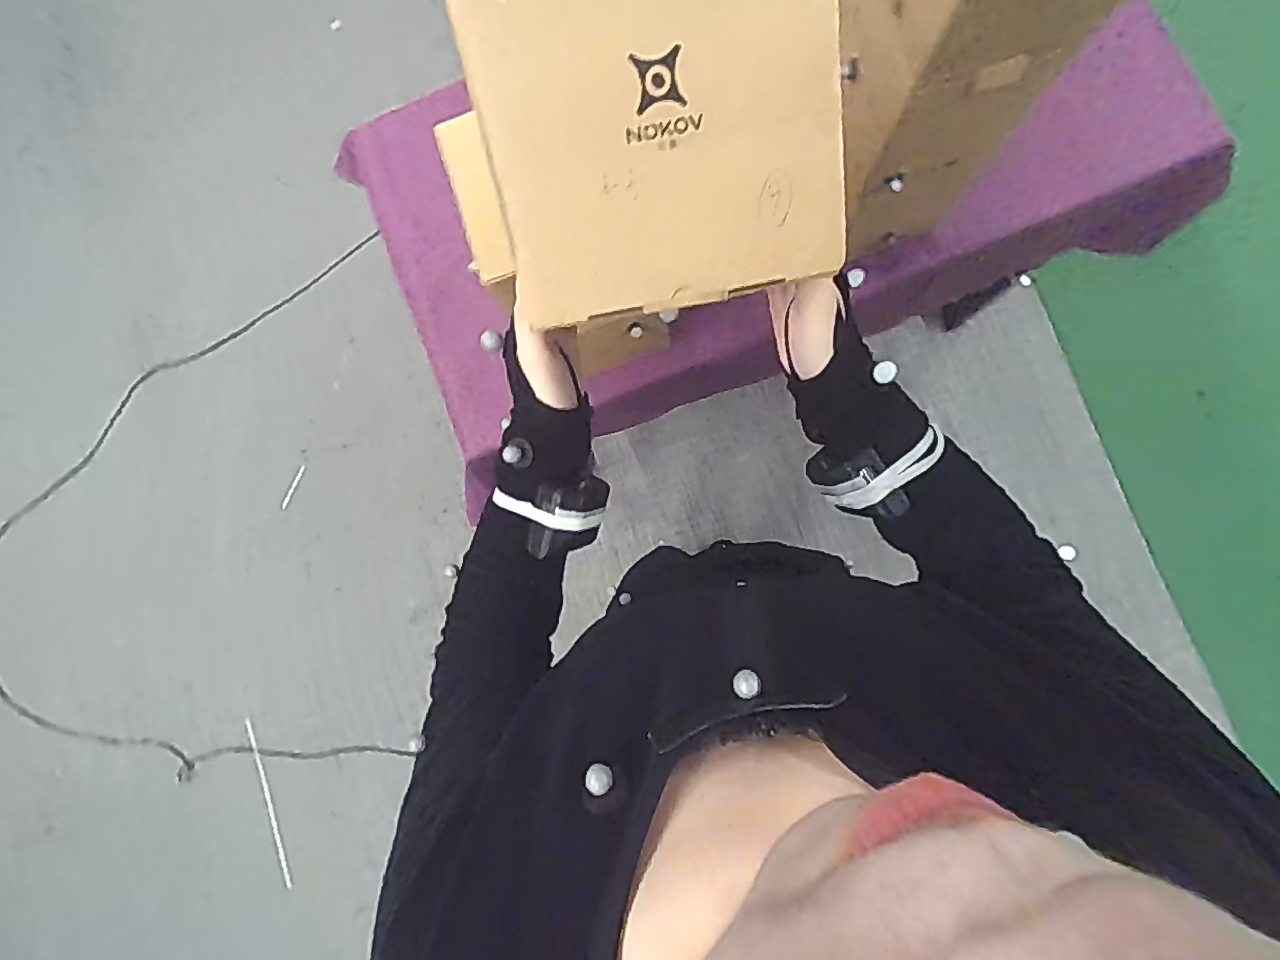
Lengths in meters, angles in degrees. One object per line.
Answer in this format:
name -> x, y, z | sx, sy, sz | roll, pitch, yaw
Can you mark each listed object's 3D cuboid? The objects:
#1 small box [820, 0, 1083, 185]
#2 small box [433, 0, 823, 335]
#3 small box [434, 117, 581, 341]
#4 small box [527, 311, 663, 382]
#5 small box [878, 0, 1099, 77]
small box -> 0.297, -0.446, 0.567 | 0.168, 0.176, 0.179 | -17, 82, 4
small box -> -0.001, -0.199, 0.320 | 0.168, 0.176, 0.179 | -10, 113, 2
small box -> -0.094, -0.282, 0.596 | 0.168, 0.176, 0.179 | -19, 83, 4
small box -> -0.072, -0.258, 0.756 | 0.179, 0.176, 0.168 | -20, 82, 4
small box -> 0.284, -0.456, 0.405 | 0.179, 0.176, 0.168 | -16, 85, 4
